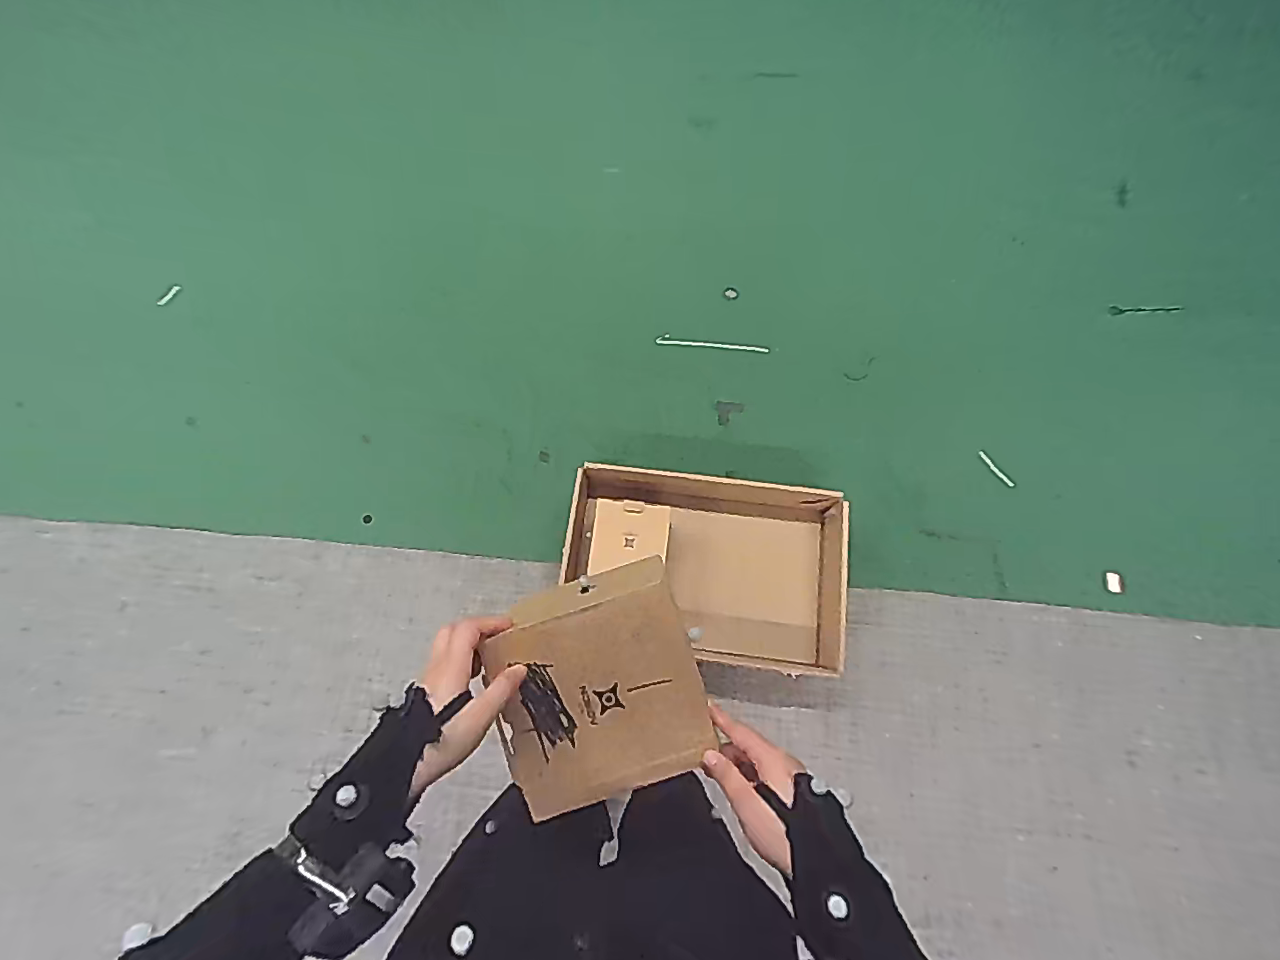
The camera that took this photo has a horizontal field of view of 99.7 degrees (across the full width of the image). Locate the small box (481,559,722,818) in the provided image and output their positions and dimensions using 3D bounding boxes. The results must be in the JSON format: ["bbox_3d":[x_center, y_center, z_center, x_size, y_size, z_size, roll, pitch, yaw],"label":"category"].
[{"bbox_3d":[-0.033,0.192,0.549,0.179,0.176,0.168,-19,91,-1],"label":"small box"}]

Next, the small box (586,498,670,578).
[{"bbox_3d":[-0.023,0.152,1.238,0.168,0.176,0.179,6,75,2],"label":"small box"}]
